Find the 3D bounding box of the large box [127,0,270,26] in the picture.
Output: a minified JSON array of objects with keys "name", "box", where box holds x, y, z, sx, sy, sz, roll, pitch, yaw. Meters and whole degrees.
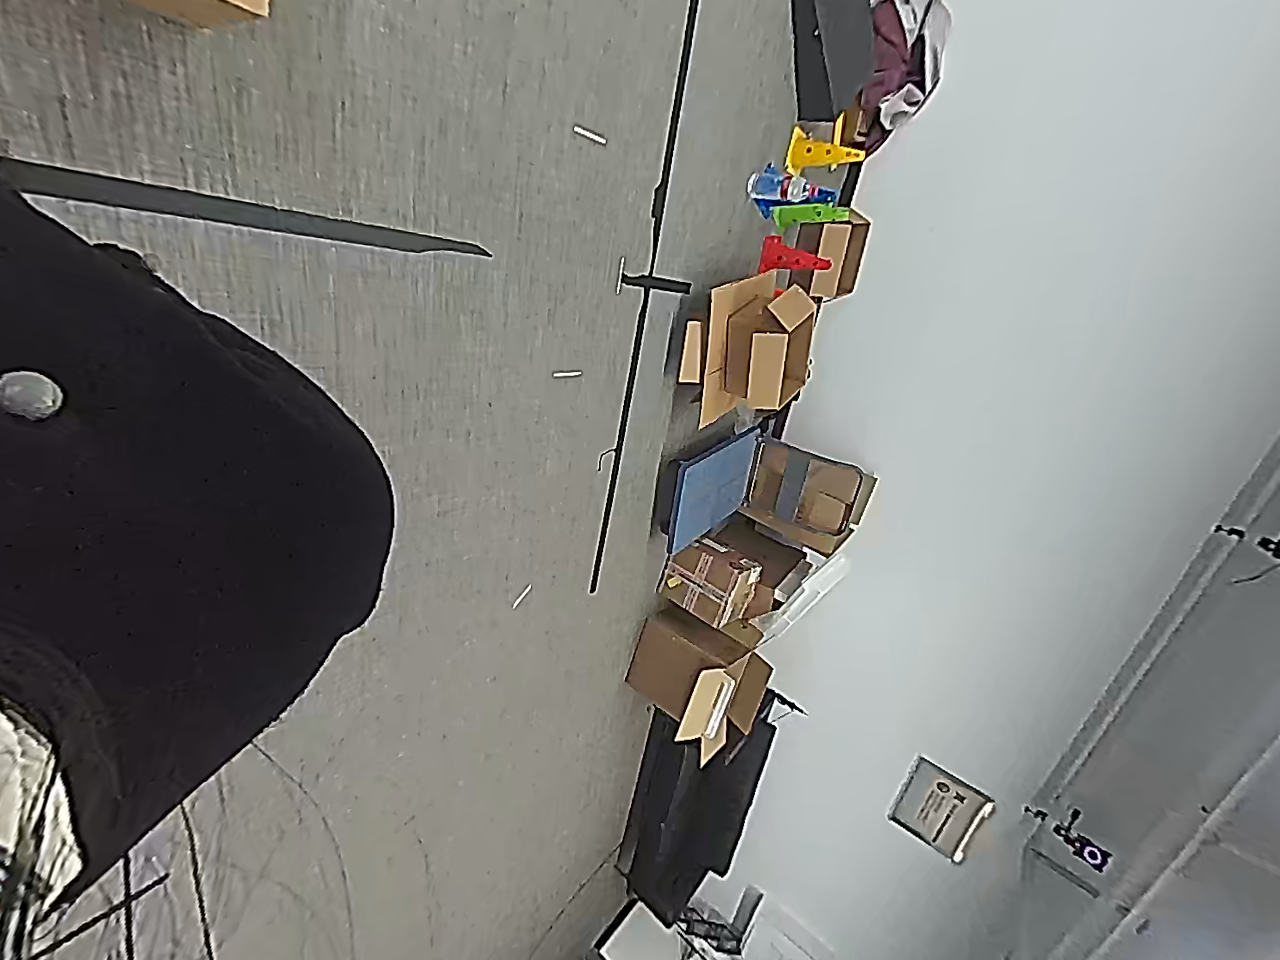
[{"name":"large box","box":[-0.787,-0.886,0.715,0.408,0.320,0.320,-16,125,-53]}]
